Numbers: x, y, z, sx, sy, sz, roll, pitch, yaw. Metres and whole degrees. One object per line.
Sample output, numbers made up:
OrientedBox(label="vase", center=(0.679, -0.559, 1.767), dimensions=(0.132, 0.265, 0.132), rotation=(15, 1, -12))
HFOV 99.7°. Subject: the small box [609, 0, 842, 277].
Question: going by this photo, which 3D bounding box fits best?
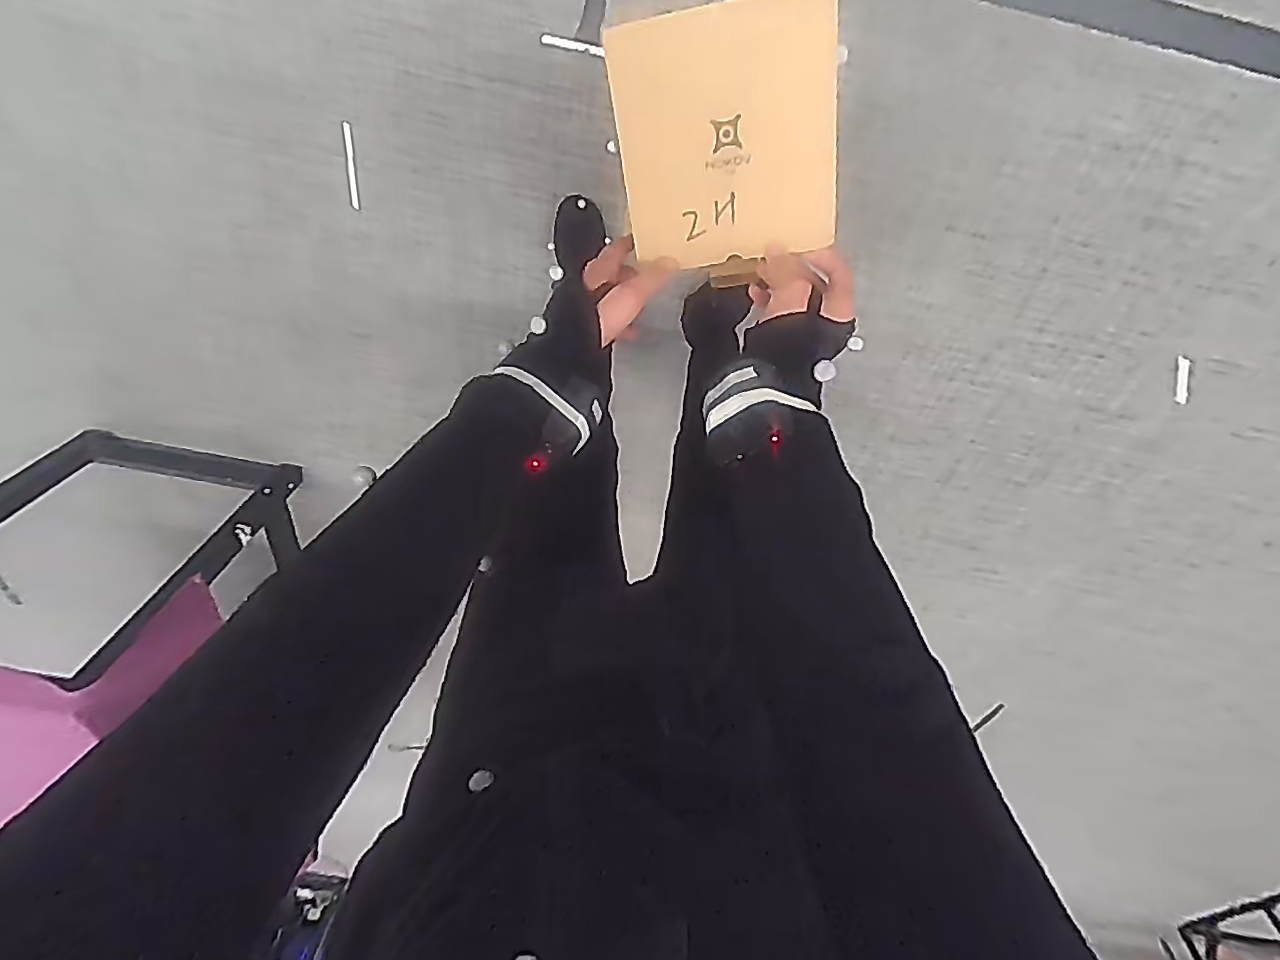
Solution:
OrientedBox(label="small box", center=(0.074, -0.306, 0.487), dimensions=(0.168, 0.176, 0.179), rotation=(-5, 128, 10))
